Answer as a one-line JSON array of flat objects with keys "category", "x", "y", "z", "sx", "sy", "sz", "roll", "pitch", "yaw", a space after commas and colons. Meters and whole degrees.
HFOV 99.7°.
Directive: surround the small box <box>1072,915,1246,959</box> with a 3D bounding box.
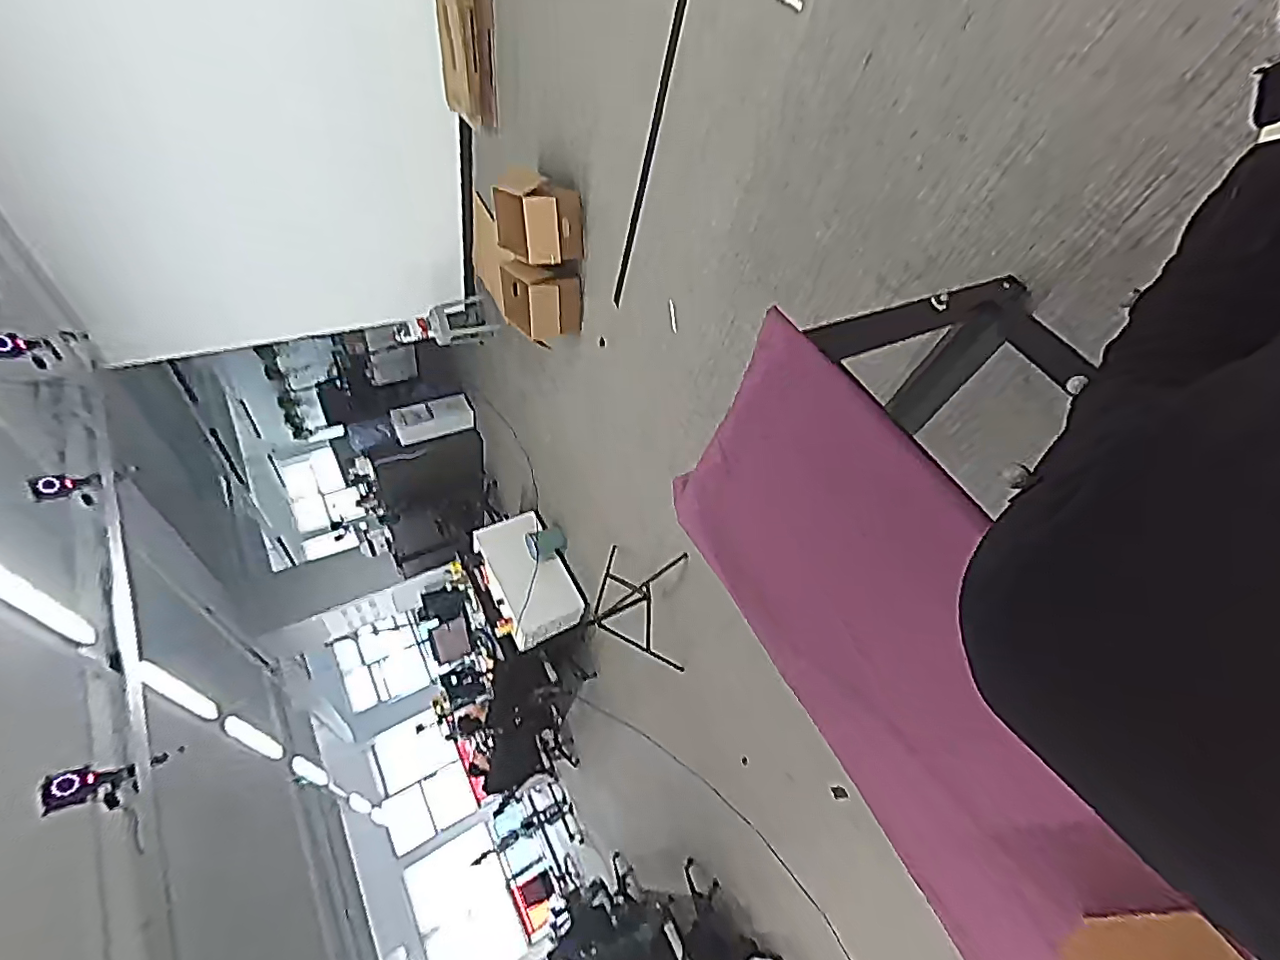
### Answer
[{"category": "small box", "x": 0.610, "y": 0.631, "z": 0.606, "sx": 0.168, "sy": 0.176, "sz": 0.179, "roll": 53, "pitch": 149, "yaw": 30}]
